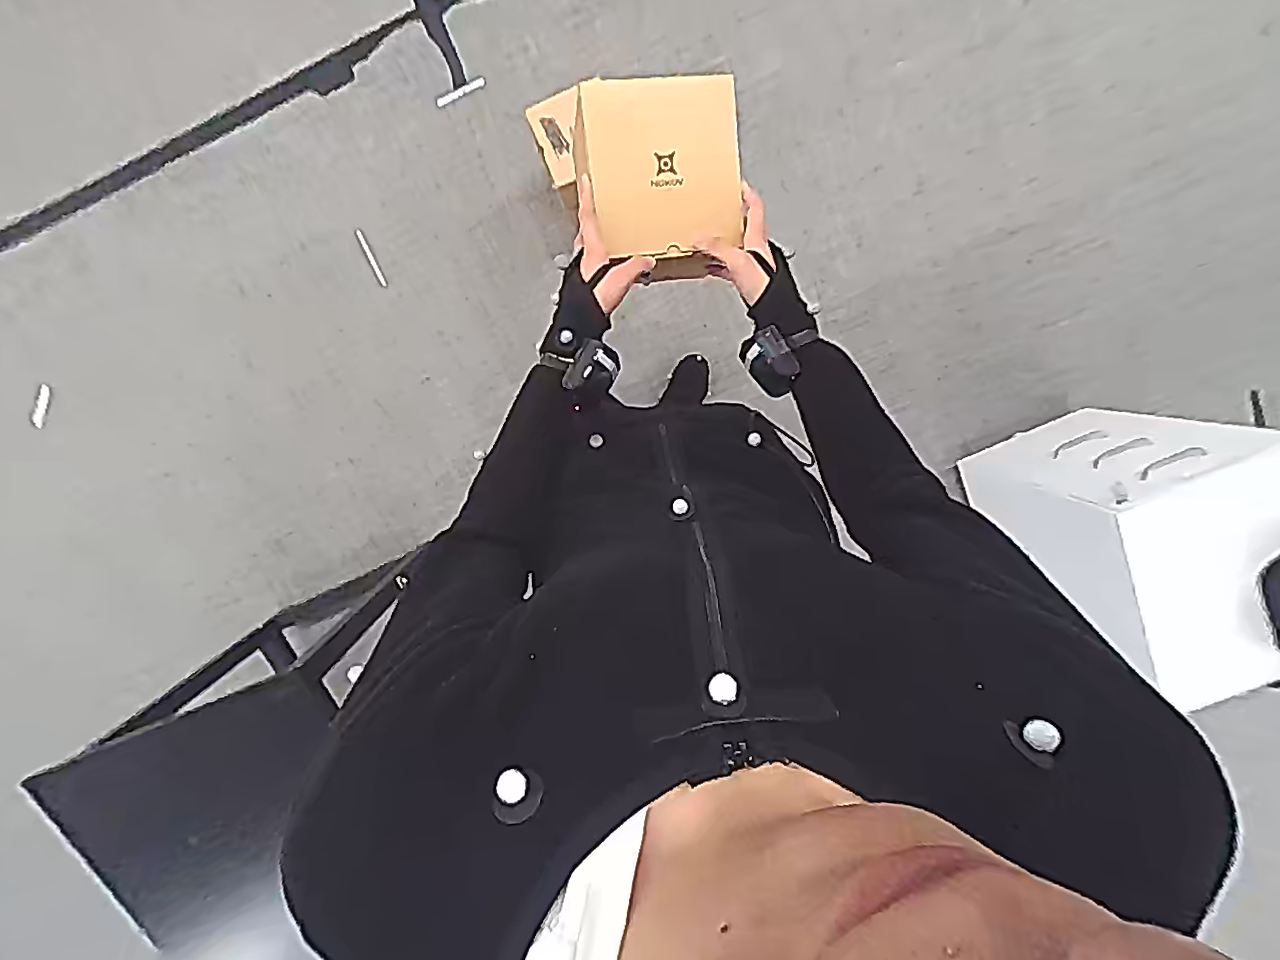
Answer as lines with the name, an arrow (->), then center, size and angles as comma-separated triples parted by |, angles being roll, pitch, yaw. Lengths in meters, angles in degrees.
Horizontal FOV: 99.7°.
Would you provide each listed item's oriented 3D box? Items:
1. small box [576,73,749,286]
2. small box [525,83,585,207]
small box -> 0.018, -0.342, 0.644 | 0.168, 0.176, 0.179 | -8, 102, -8
small box -> -0.132, -0.744, 1.213 | 0.179, 0.176, 0.168 | -23, 102, 3
